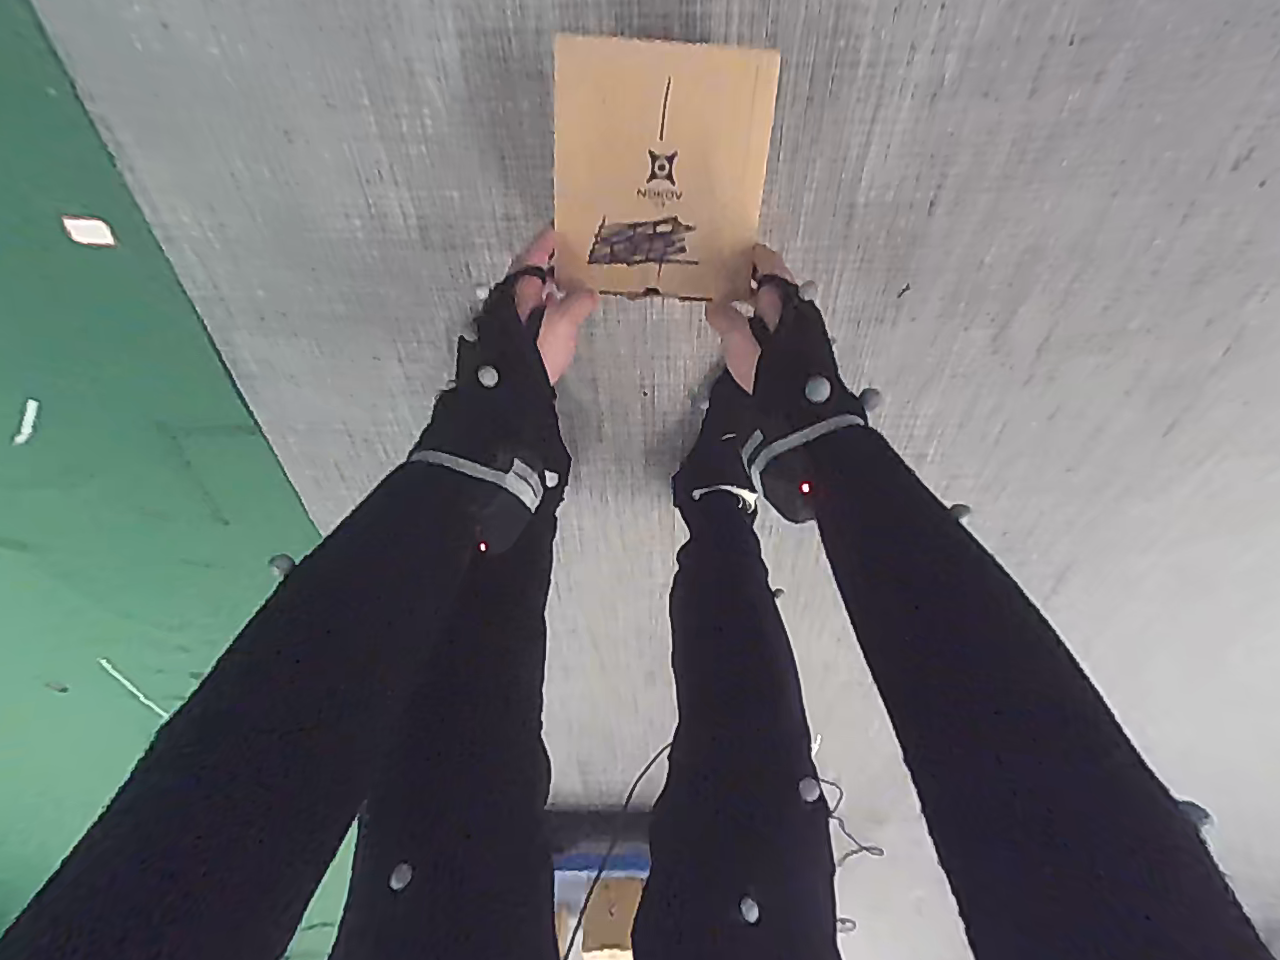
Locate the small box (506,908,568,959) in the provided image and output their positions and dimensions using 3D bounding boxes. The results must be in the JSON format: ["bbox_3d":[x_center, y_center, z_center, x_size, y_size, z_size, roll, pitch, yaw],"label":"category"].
[{"bbox_3d":[-0.330,1.513,1.750,0.168,0.176,0.179,-2,129,0],"label":"small box"}]

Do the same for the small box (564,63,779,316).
[{"bbox_3d":[0.021,-0.259,0.515,0.168,0.176,0.179,3,111,-2],"label":"small box"}]

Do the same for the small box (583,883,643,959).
[{"bbox_3d":[-0.077,1.301,1.577,0.168,0.176,0.179,0,129,0],"label":"small box"}]
